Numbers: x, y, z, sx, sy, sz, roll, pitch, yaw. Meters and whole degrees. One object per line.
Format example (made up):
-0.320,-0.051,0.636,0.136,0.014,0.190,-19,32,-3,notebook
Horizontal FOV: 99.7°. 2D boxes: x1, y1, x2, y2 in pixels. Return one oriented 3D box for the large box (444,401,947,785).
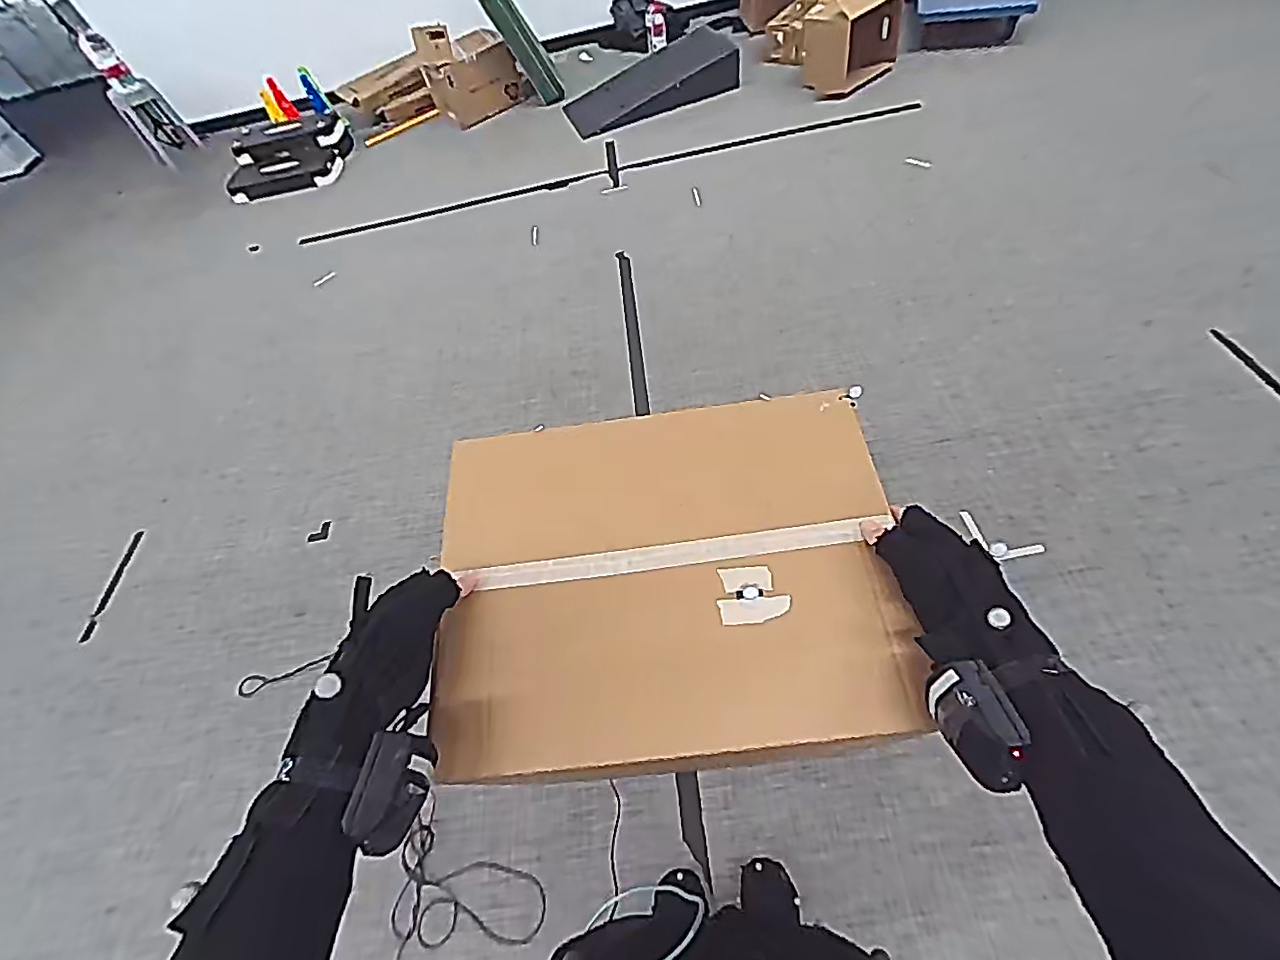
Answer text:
0.038,0.148,0.620,0.408,0.320,0.320,-7,60,2,large box
